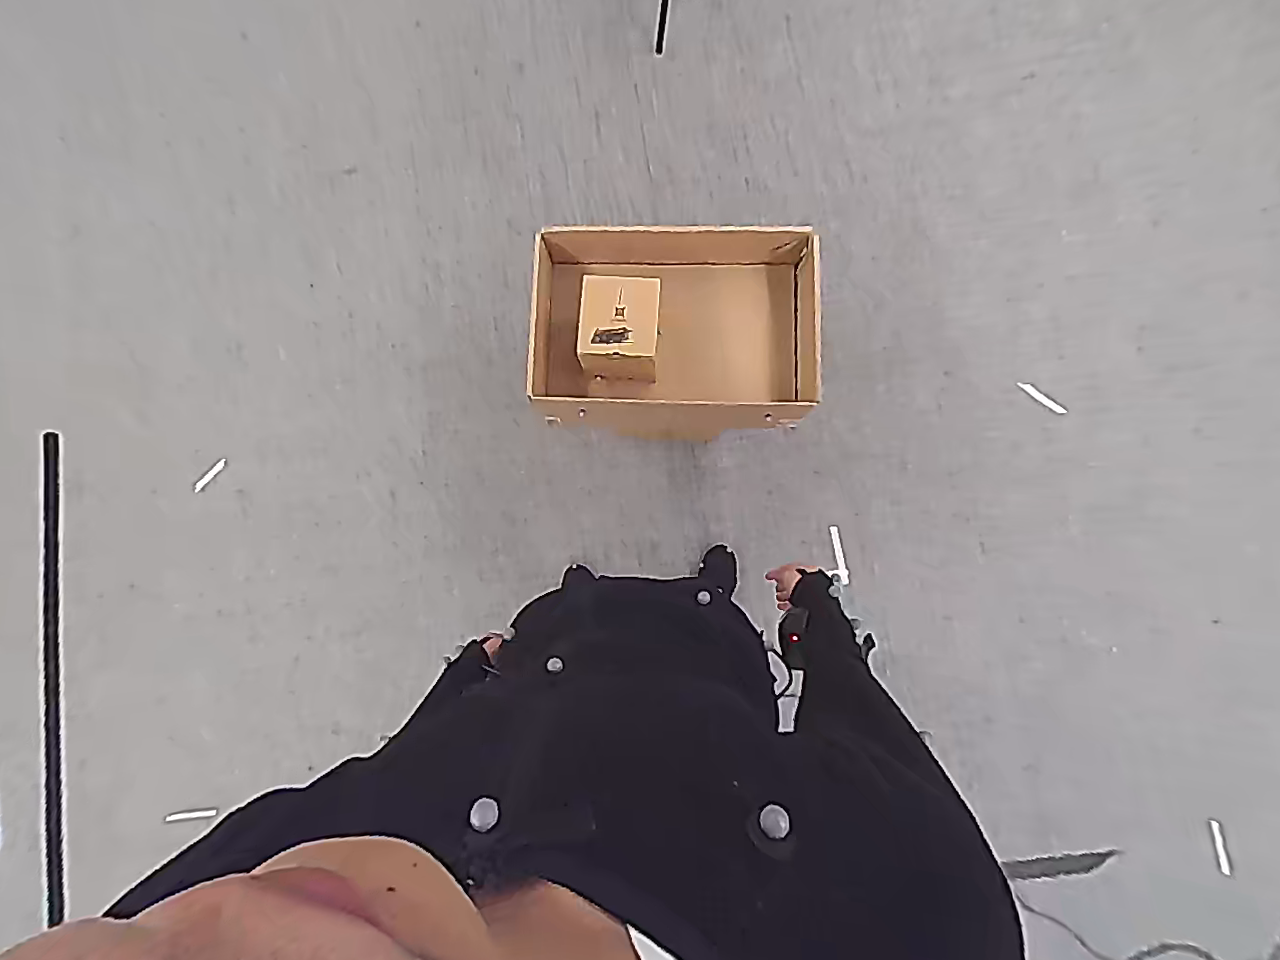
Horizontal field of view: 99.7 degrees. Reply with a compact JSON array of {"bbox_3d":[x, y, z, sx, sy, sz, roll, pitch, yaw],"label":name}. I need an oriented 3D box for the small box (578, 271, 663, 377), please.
[{"bbox_3d":[-0.037,-0.337,1.199,0.168,0.176,0.179,4,82,2],"label":"small box"}]
